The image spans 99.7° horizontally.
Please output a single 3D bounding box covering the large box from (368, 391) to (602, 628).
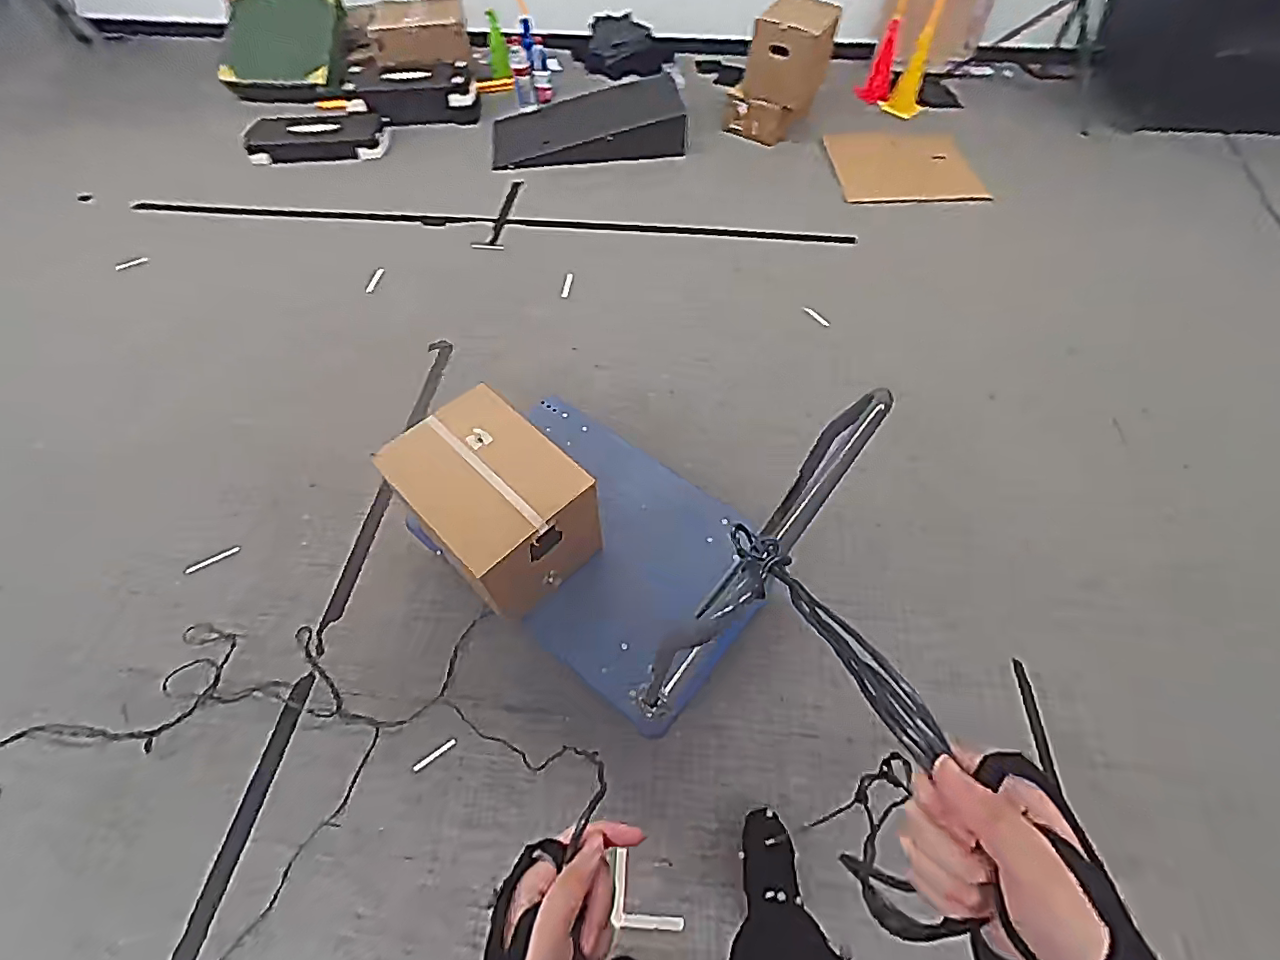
[{"bbox_3d":[-0.341,0.072,1.280,0.408,0.320,0.320,38,64,22],"label":"large box"}]
